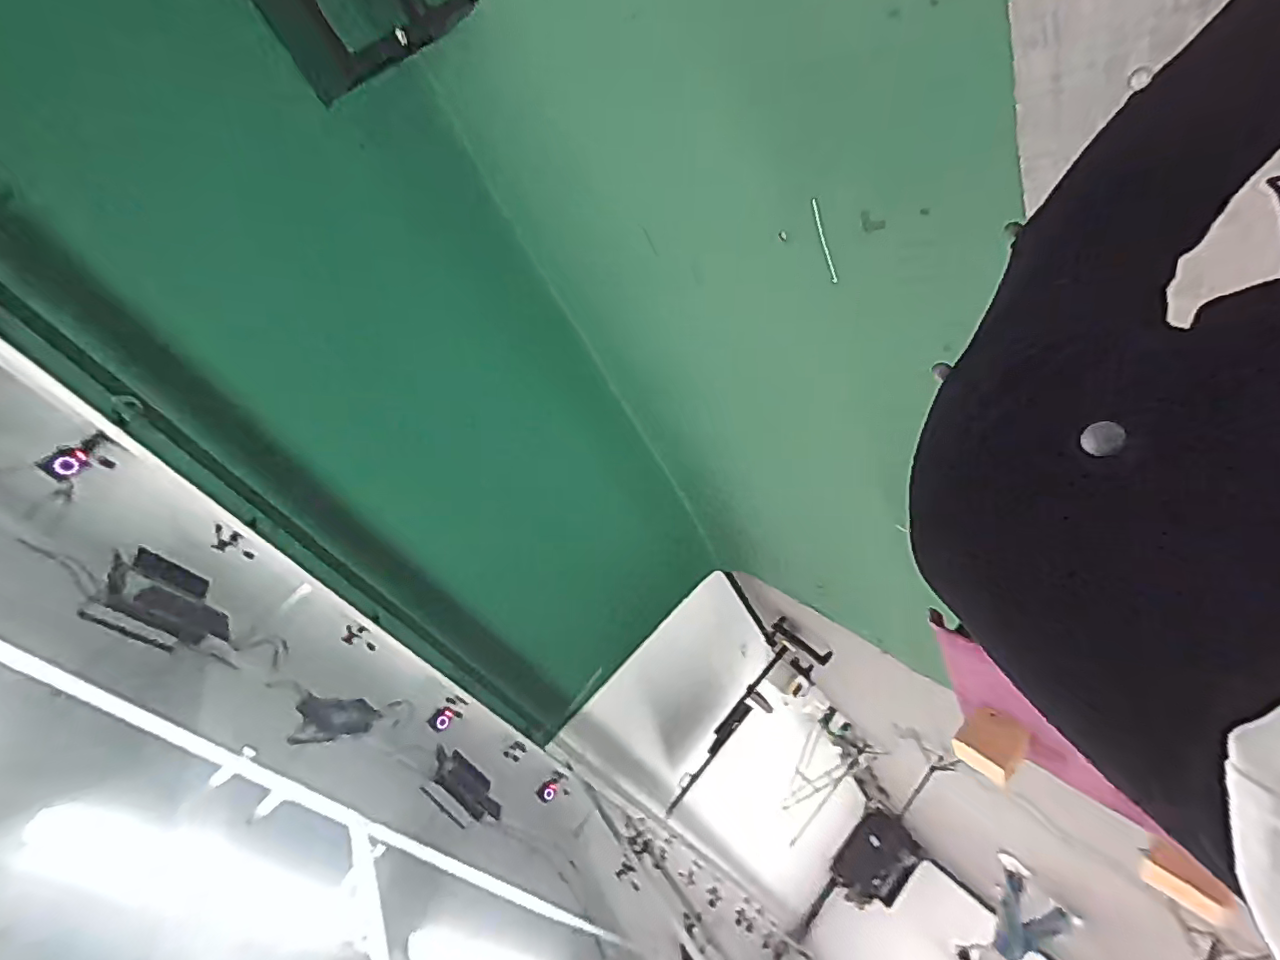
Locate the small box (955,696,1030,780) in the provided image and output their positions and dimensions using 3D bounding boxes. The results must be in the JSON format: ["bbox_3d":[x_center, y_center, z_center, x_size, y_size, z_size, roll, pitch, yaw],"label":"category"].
[{"bbox_3d":[1.241,0.902,1.898,0.168,0.176,0.179,28,156,49],"label":"small box"}]

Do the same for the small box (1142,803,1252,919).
[{"bbox_3d":[1.523,1.039,1.483,0.168,0.176,0.179,26,154,55],"label":"small box"}]
